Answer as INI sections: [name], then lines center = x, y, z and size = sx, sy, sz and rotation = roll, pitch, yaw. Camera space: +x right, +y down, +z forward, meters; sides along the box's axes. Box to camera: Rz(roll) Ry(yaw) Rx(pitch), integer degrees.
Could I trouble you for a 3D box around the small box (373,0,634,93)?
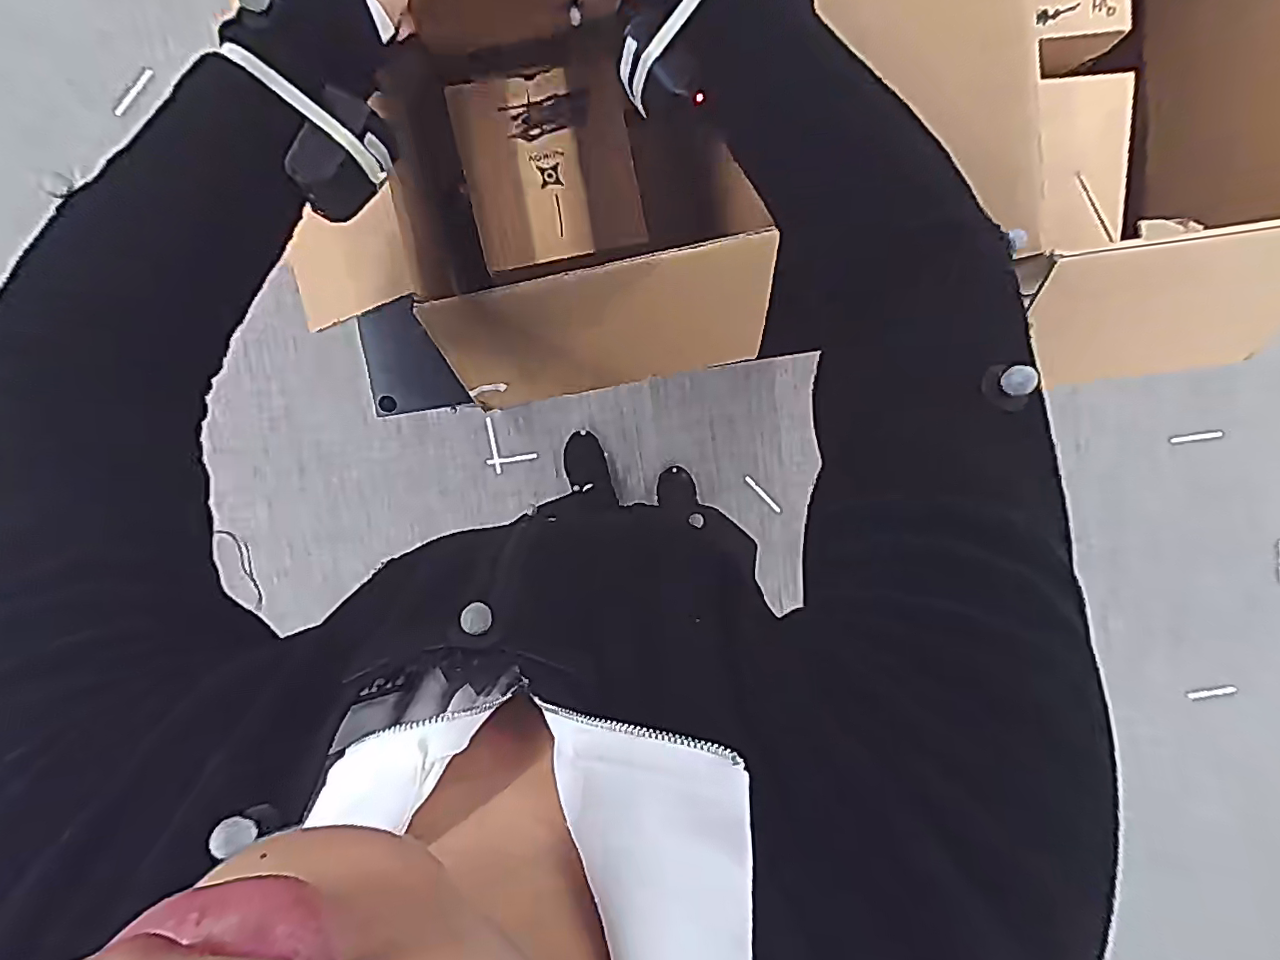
[small box]
center = -0.111, -0.415, 0.409
size = 0.179, 0.176, 0.168
rotation = -12, 118, -2
